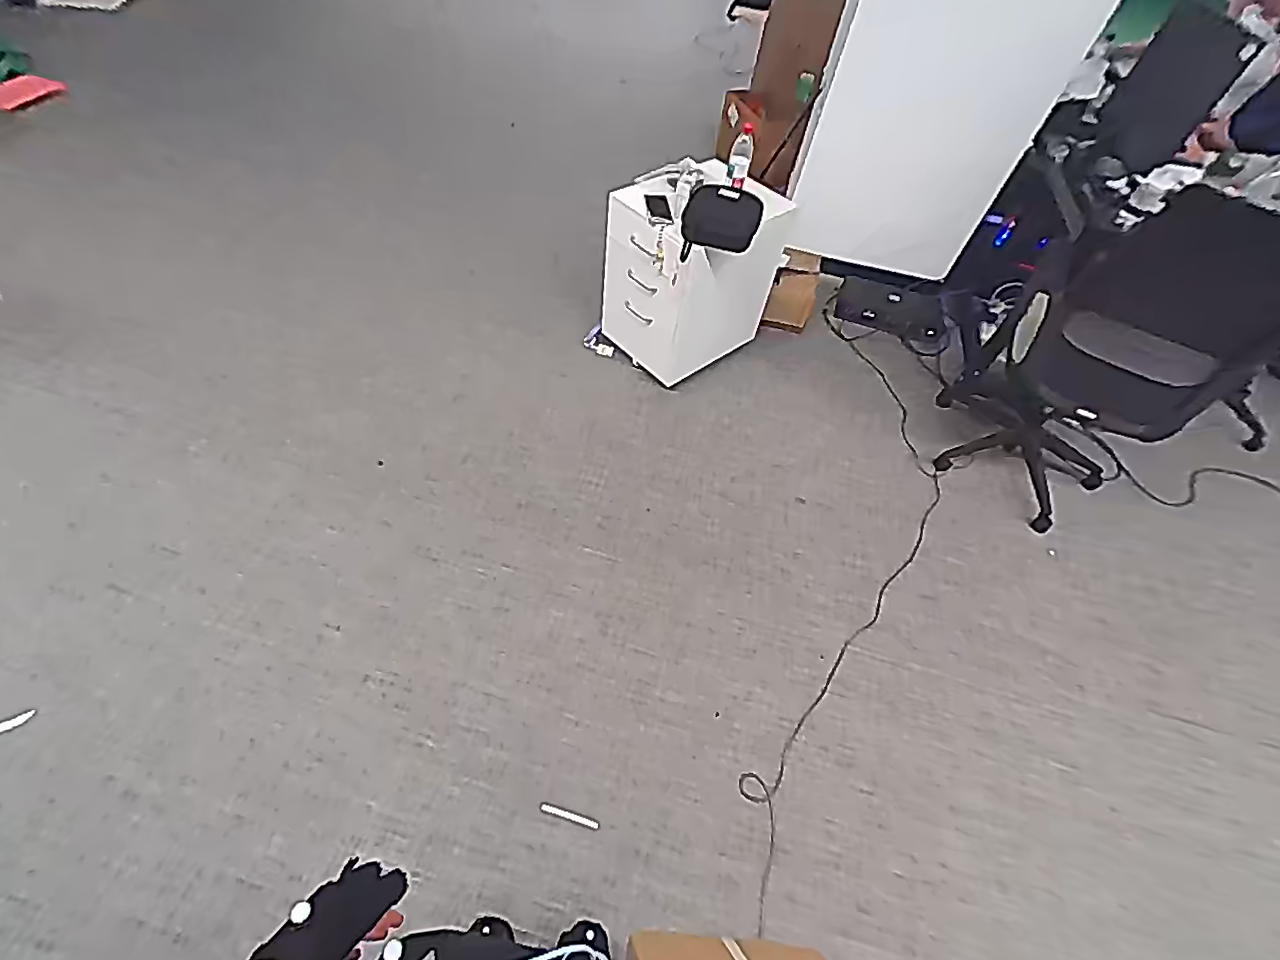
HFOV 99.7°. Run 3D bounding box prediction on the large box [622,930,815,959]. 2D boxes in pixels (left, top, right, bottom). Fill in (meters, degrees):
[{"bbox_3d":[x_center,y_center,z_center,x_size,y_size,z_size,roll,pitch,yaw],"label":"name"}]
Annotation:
[{"bbox_3d":[0.142,0.811,0.616,0.320,0.408,0.320,13,72,-9],"label":"large box"}]
